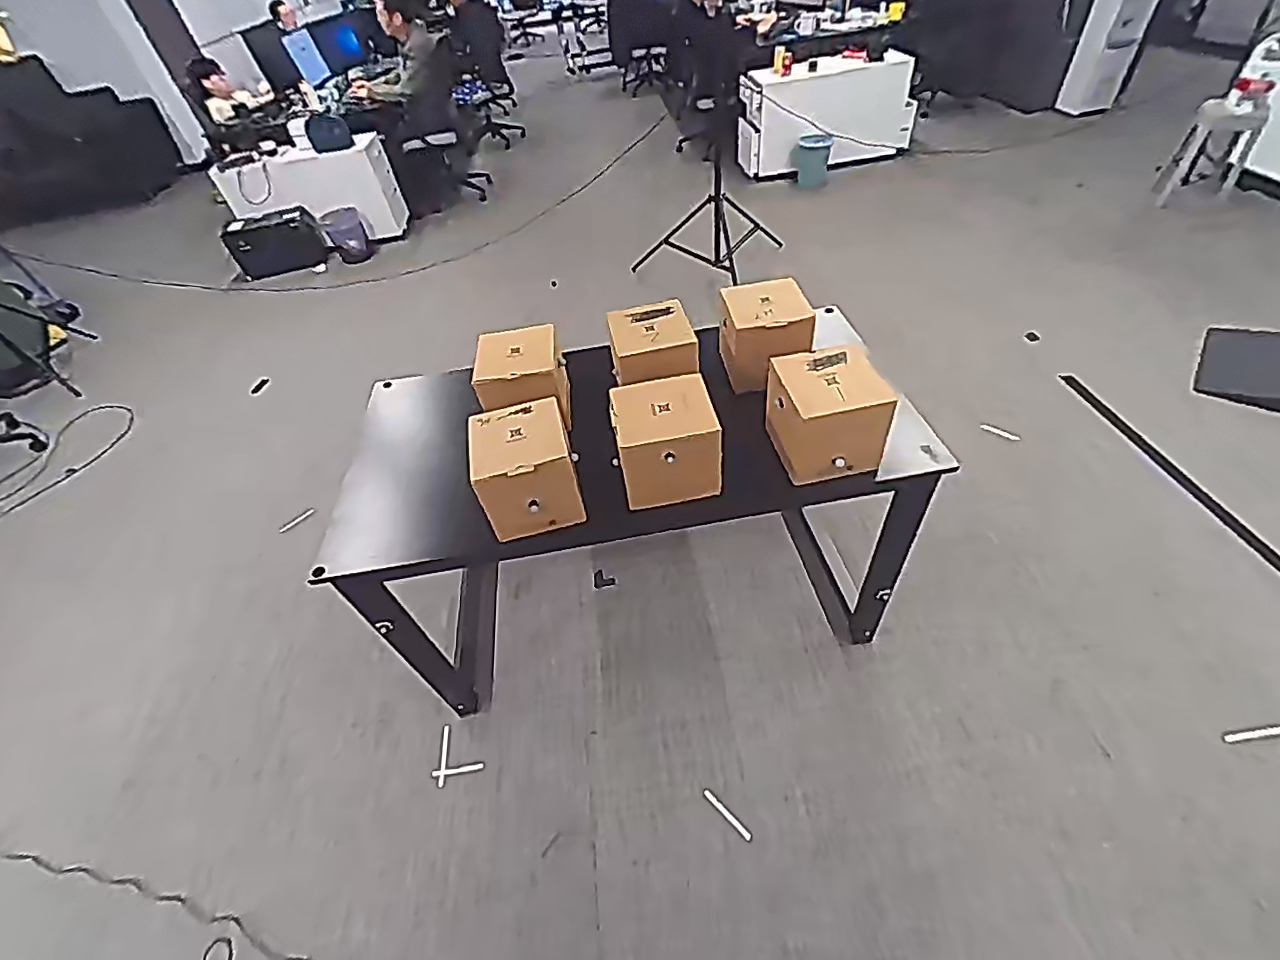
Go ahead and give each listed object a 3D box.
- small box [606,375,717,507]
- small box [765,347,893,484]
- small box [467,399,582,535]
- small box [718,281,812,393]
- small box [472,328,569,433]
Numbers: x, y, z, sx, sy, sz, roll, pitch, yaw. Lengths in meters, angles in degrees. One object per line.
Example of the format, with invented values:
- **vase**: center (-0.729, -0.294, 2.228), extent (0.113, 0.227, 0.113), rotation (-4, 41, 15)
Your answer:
- **small box**: center (0.042, -0.069, 1.012), extent (0.179, 0.176, 0.168), rotation (-10, 47, -2)
- **small box**: center (0.338, -0.120, 1.009), extent (0.168, 0.176, 0.179), rotation (-11, 46, -1)
- **small box**: center (-0.210, -0.018, 1.001), extent (0.168, 0.176, 0.179), rotation (-14, 47, -5)
- **small box**: center (0.269, -0.319, 1.209), extent (0.168, 0.176, 0.179), rotation (-9, 46, 1)
- **small box**: center (-0.255, -0.208, 1.189), extent (0.168, 0.176, 0.179), rotation (-9, 47, 0)
